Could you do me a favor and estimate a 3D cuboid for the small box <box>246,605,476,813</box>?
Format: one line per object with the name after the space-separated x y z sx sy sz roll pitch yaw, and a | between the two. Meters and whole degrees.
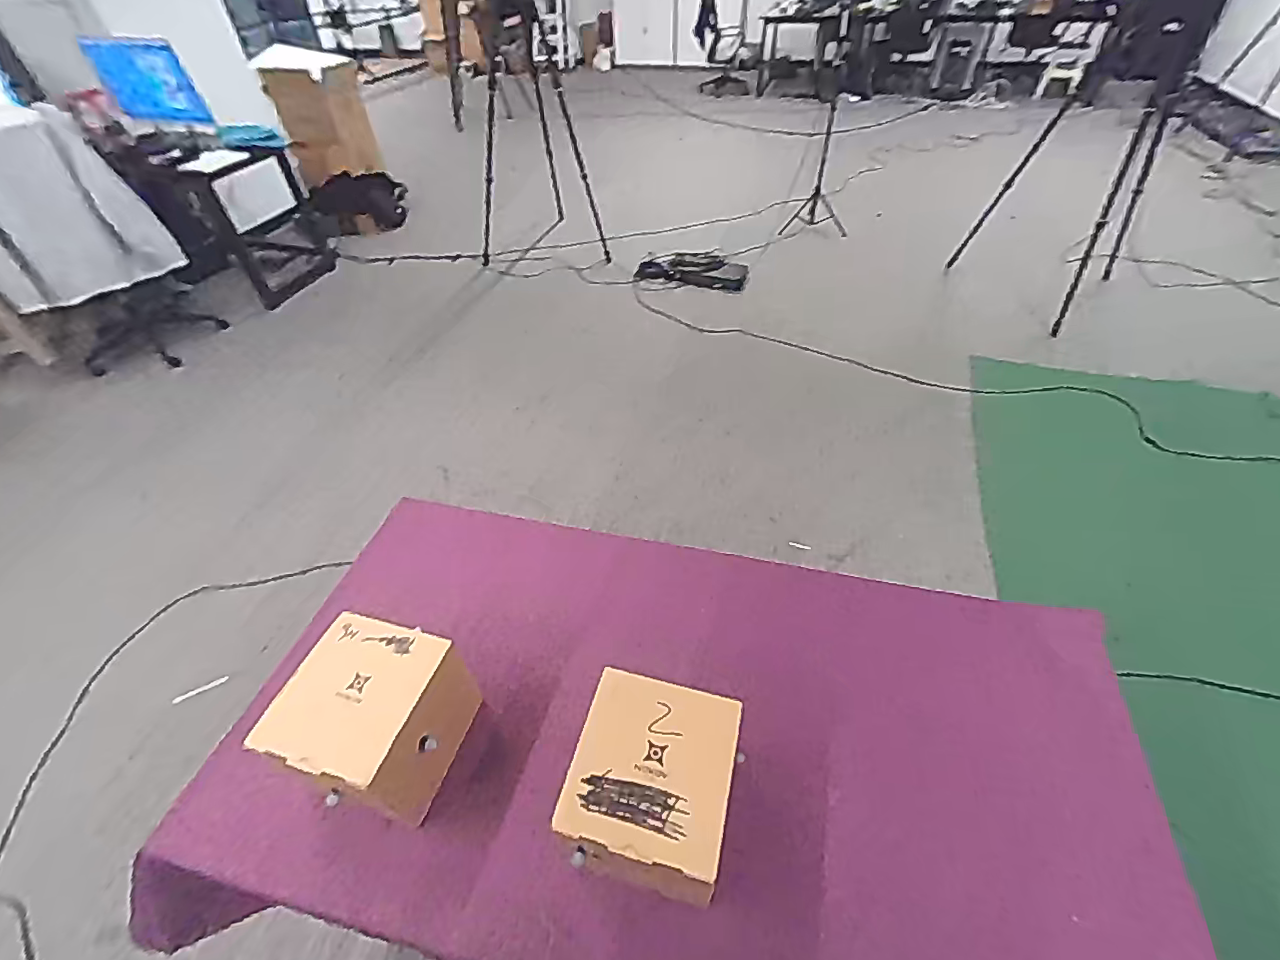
-0.333 0.295 0.692 0.168 0.176 0.179 12 48 12 | small box
